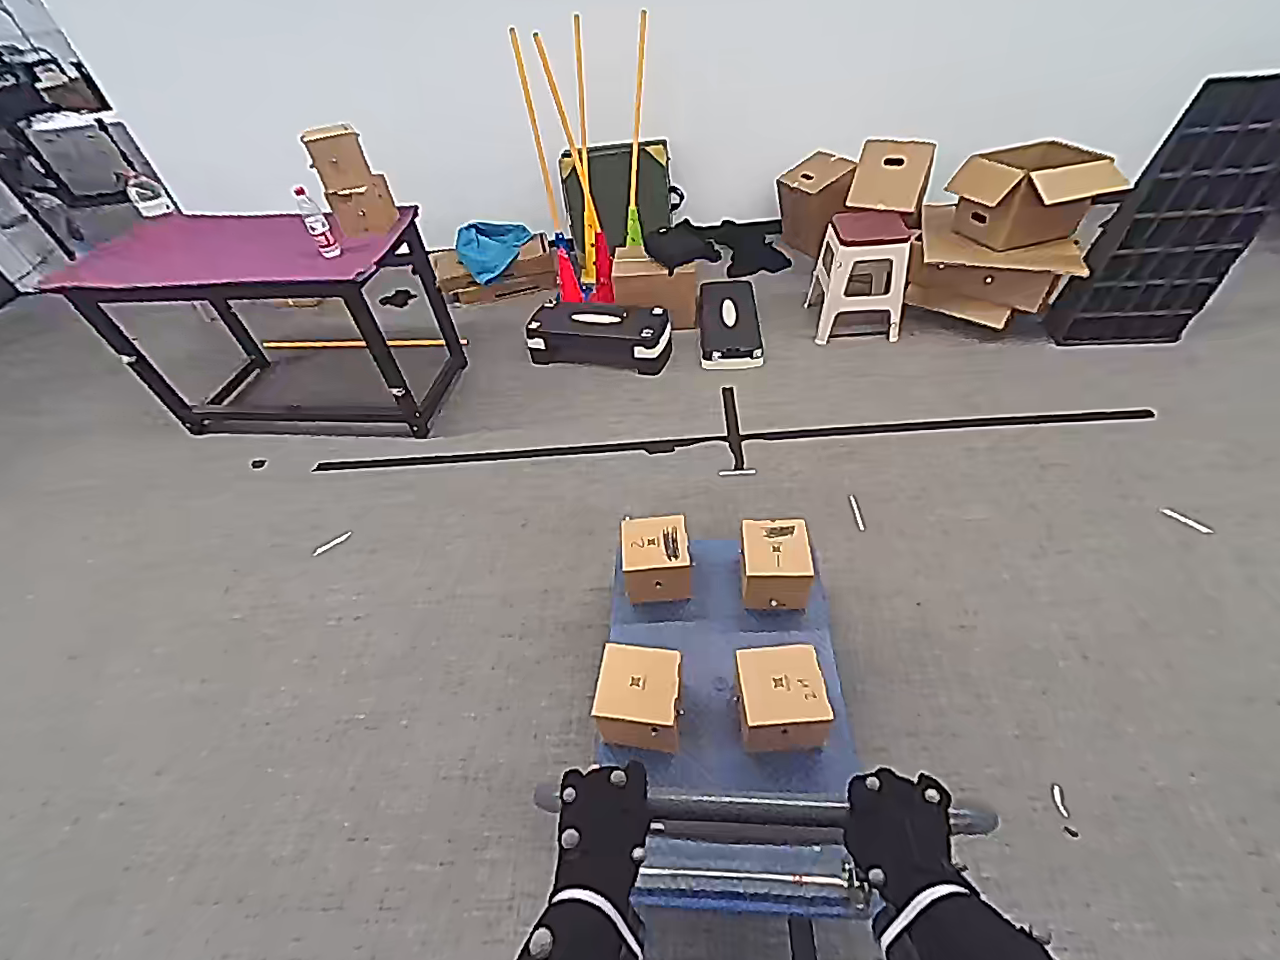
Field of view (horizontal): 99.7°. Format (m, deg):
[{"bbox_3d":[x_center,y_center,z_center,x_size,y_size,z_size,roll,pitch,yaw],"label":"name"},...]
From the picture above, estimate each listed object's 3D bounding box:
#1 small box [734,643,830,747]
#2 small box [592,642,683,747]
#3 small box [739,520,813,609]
[{"bbox_3d":[0.307,0.485,1.210,0.179,0.176,0.168,-5,47,3],"label":"small box"},{"bbox_3d":[0.002,0.494,1.239,0.179,0.176,0.168,4,47,9],"label":"small box"},{"bbox_3d":[0.355,0.225,1.447,0.168,0.176,0.179,-1,48,6],"label":"small box"}]
